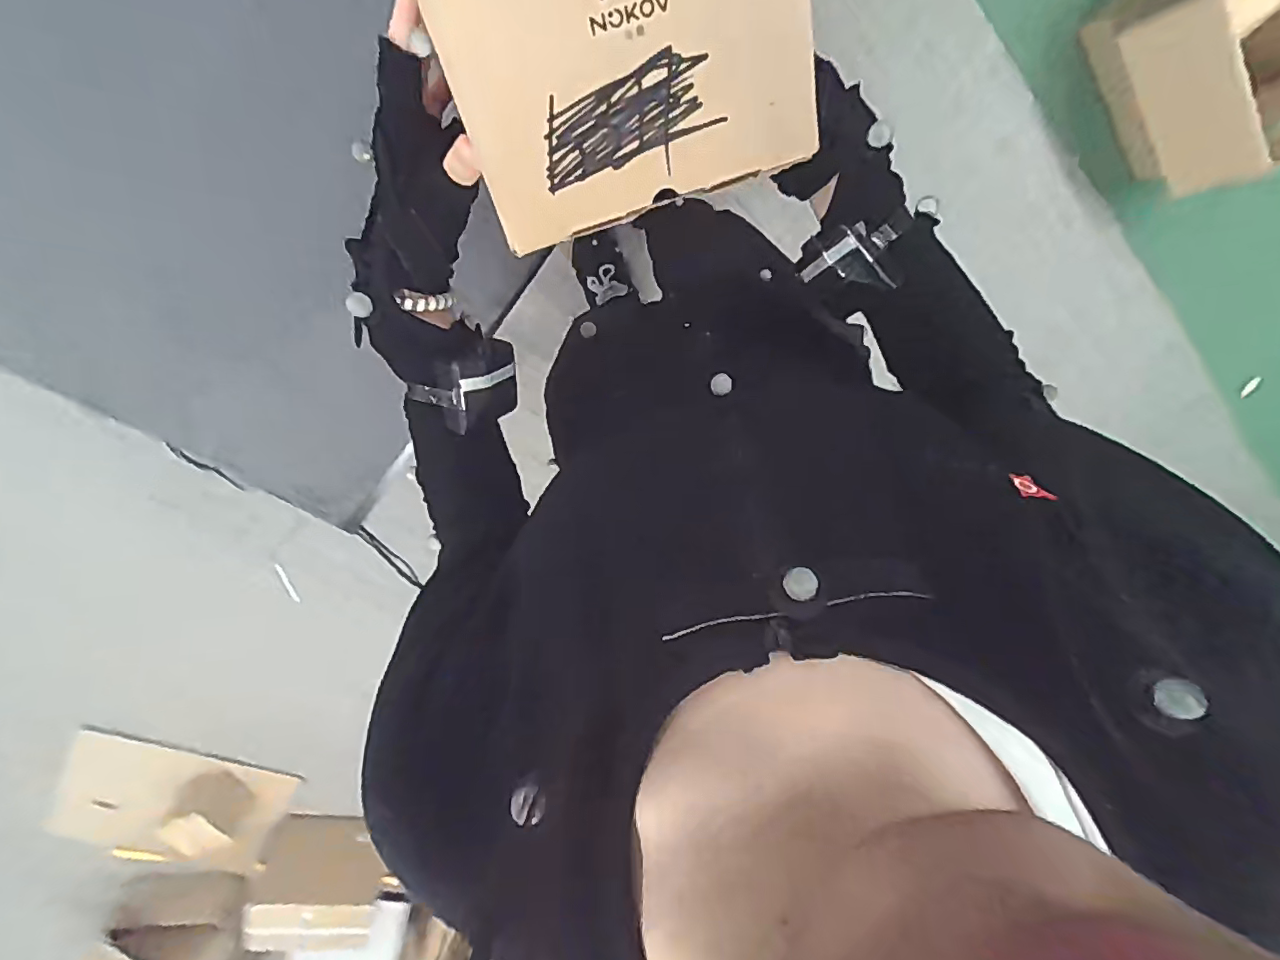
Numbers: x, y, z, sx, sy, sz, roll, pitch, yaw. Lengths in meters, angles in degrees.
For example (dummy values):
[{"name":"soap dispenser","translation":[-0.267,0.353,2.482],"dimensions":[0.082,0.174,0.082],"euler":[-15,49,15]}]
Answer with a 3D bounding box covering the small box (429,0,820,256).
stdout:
[{"name":"small box","translation":[-0.019,-0.249,0.291],"dimensions":[0.168,0.176,0.179],"euler":[-18,127,-2]}]
